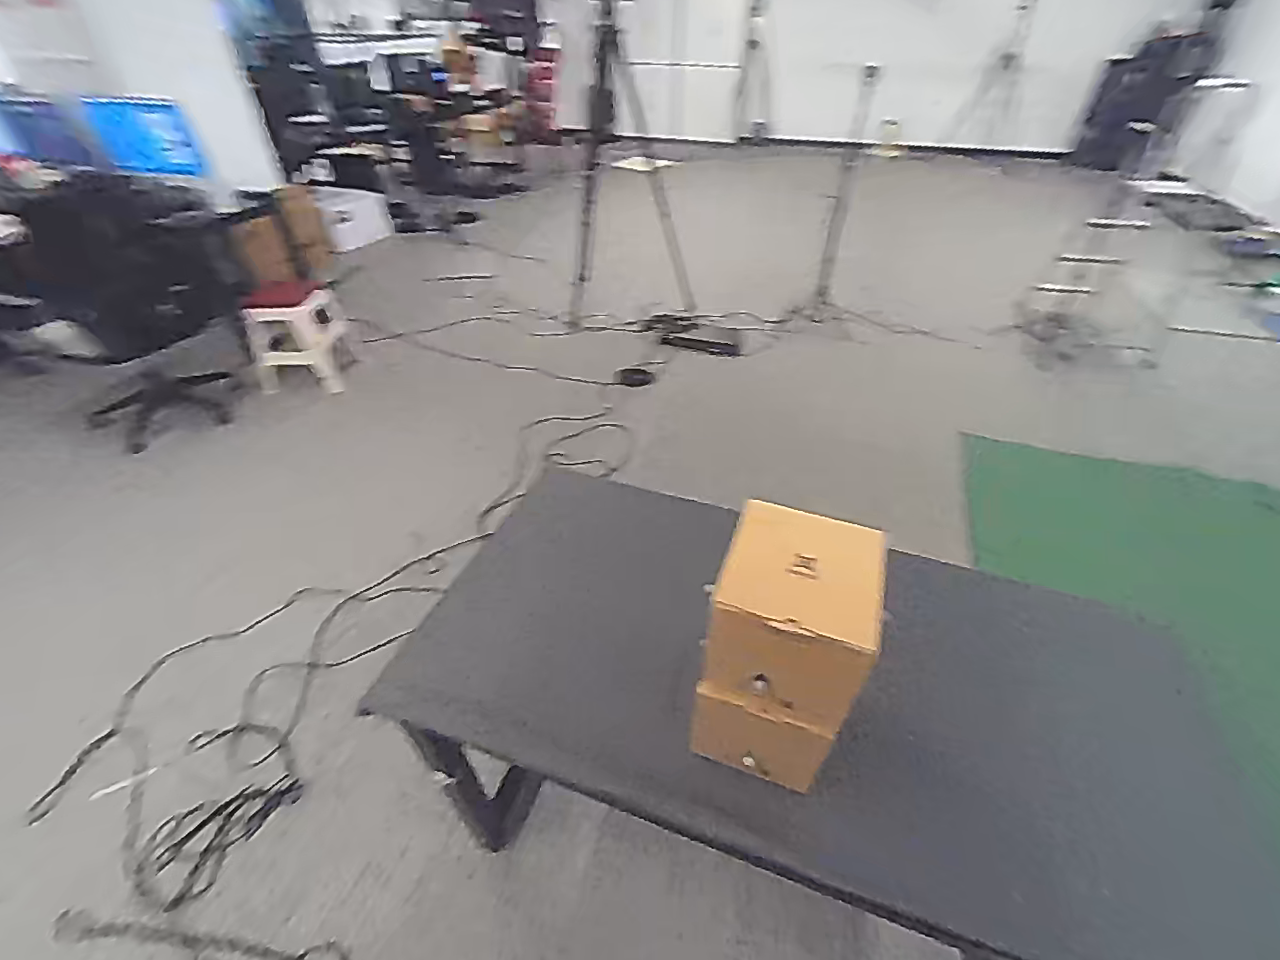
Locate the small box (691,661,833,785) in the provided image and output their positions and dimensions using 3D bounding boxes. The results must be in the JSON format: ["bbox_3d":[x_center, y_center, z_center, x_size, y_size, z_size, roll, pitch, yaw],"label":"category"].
[{"bbox_3d":[0.171,0.279,0.749,0.168,0.176,0.179,13,42,16],"label":"small box"}]

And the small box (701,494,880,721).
[{"bbox_3d":[0.176,0.150,0.650,0.168,0.176,0.179,14,42,16],"label":"small box"}]
